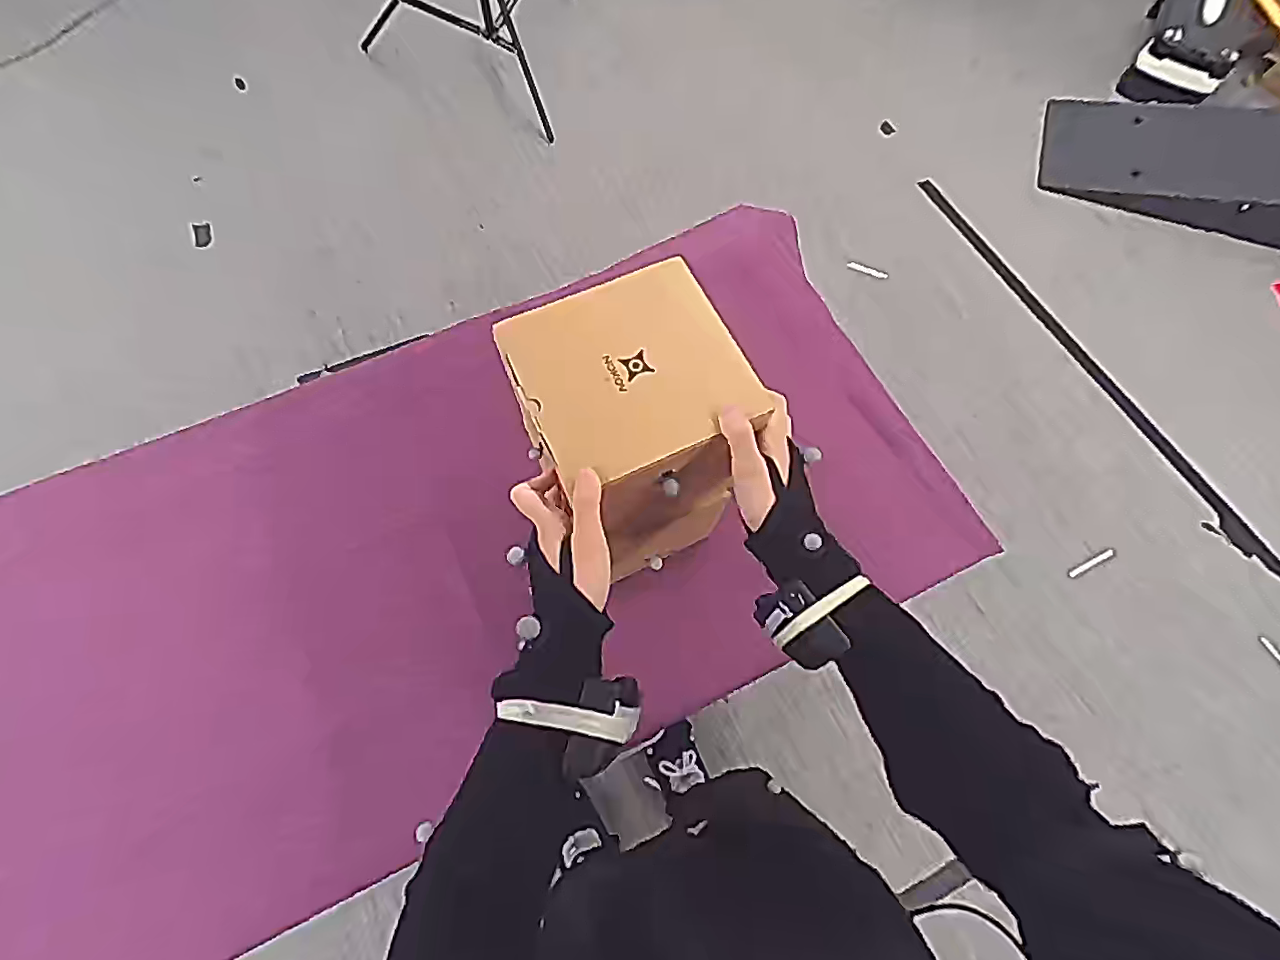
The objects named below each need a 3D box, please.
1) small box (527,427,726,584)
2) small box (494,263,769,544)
[{"bbox_3d":[-0.020,0.006,0.654,0.168,0.176,0.179,-24,72,-9],"label":"small box"},{"bbox_3d":[-0.011,-0.059,0.505,0.179,0.176,0.168,-24,73,-9],"label":"small box"}]
